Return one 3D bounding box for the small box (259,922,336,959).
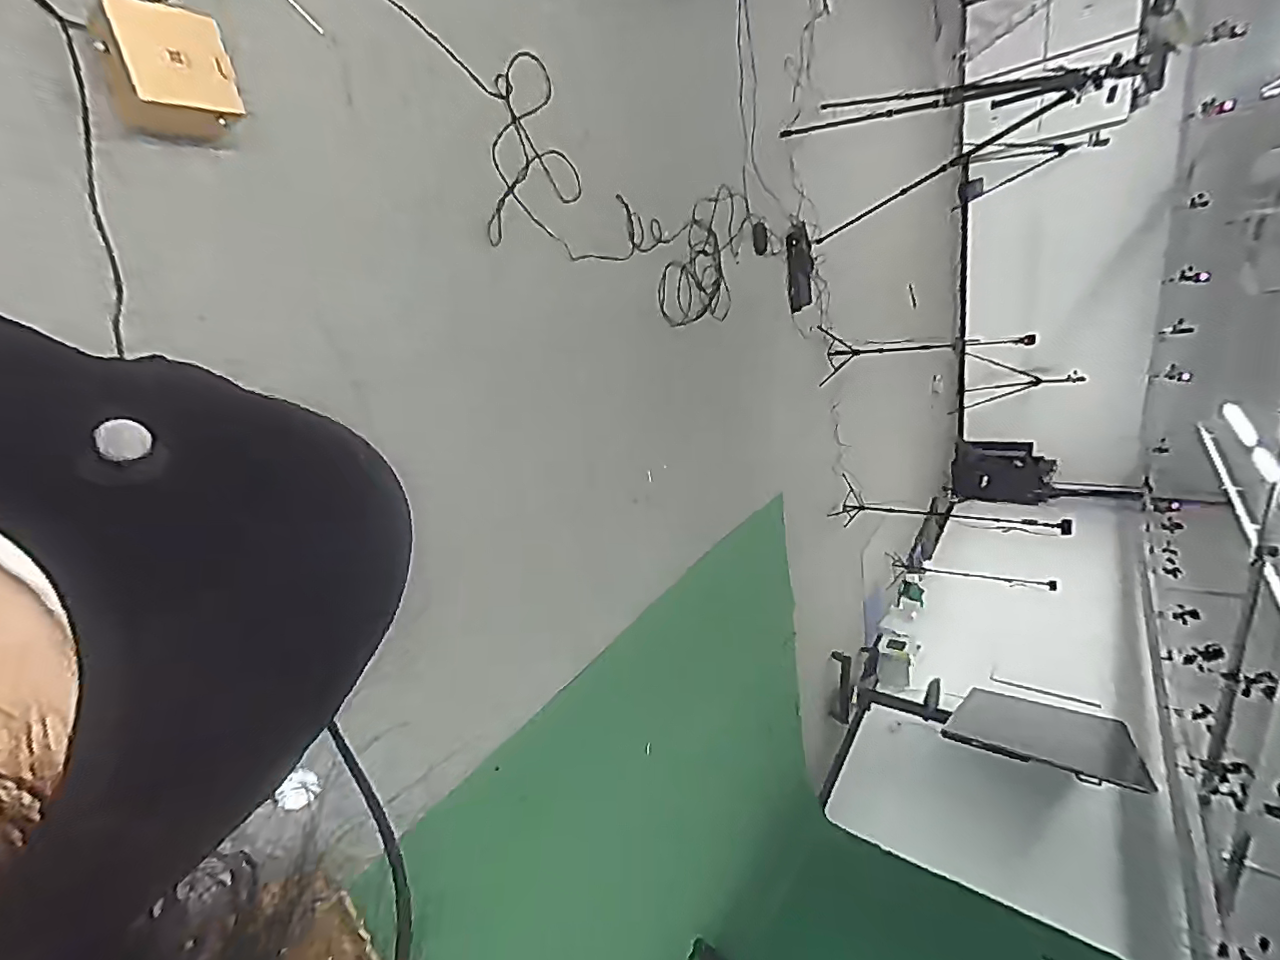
[{"bbox_3d":[-0.832,1.241,1.315,0.168,0.176,0.179,-33,118,-46],"label":"small box"}]

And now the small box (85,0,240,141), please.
[{"bbox_3d":[-0.935,-0.787,1.057,0.179,0.176,0.168,-30,117,-48],"label":"small box"}]
